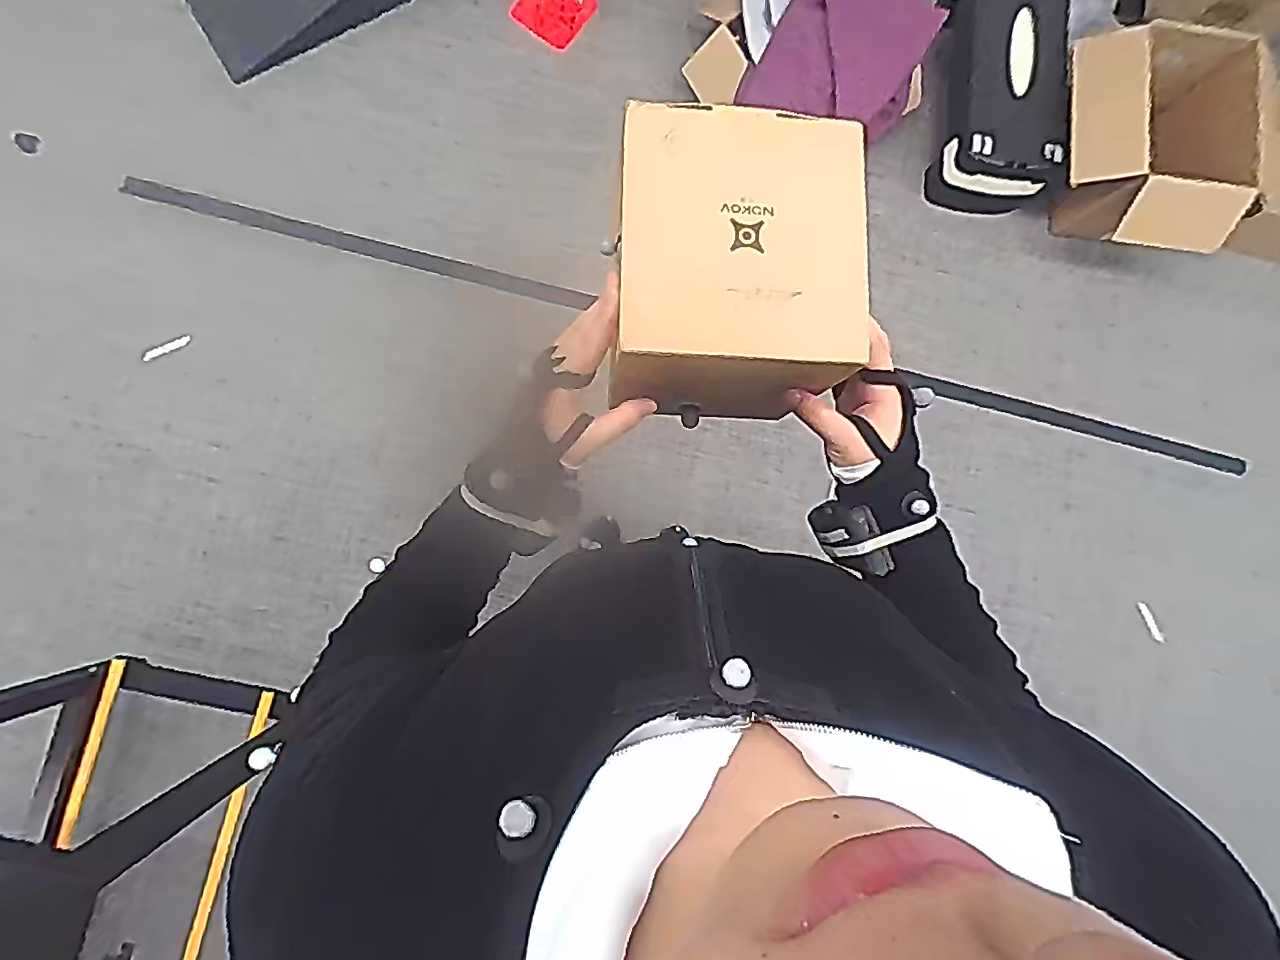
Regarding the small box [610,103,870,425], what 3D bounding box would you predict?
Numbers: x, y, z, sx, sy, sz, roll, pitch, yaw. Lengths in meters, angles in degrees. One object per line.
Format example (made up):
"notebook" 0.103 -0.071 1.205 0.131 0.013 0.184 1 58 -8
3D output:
"small box" 0.062 -0.151 0.432 0.168 0.176 0.179 1 83 -5
